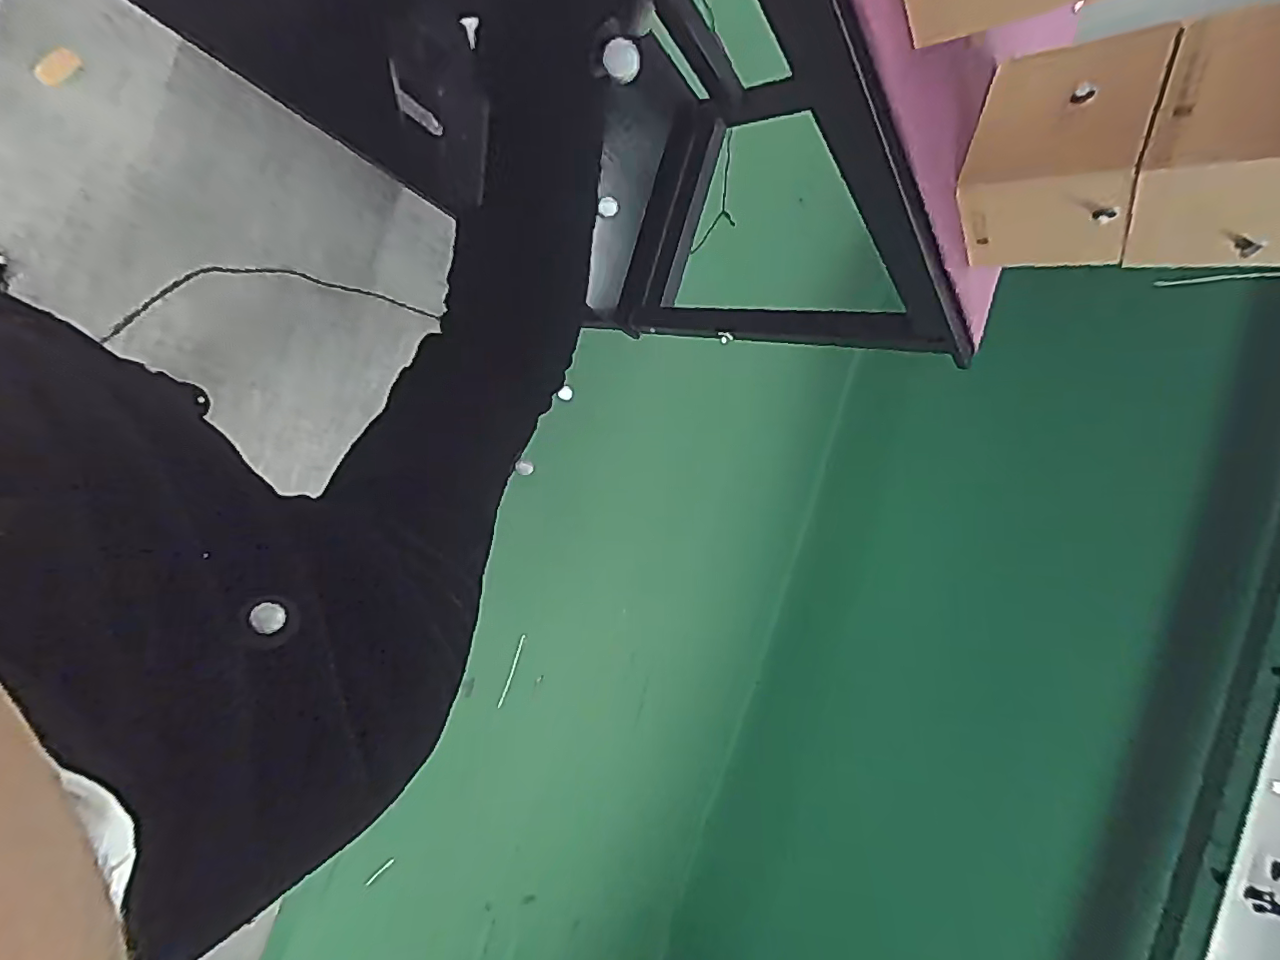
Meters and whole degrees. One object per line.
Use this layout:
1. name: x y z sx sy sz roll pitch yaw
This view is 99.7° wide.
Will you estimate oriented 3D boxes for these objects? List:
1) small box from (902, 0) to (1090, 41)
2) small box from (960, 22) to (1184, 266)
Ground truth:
1. small box: 0.277 -0.456 0.360 0.168 0.176 0.179 23 85 -50
2. small box: 0.507 -0.383 0.654 0.168 0.176 0.179 25 84 -49
